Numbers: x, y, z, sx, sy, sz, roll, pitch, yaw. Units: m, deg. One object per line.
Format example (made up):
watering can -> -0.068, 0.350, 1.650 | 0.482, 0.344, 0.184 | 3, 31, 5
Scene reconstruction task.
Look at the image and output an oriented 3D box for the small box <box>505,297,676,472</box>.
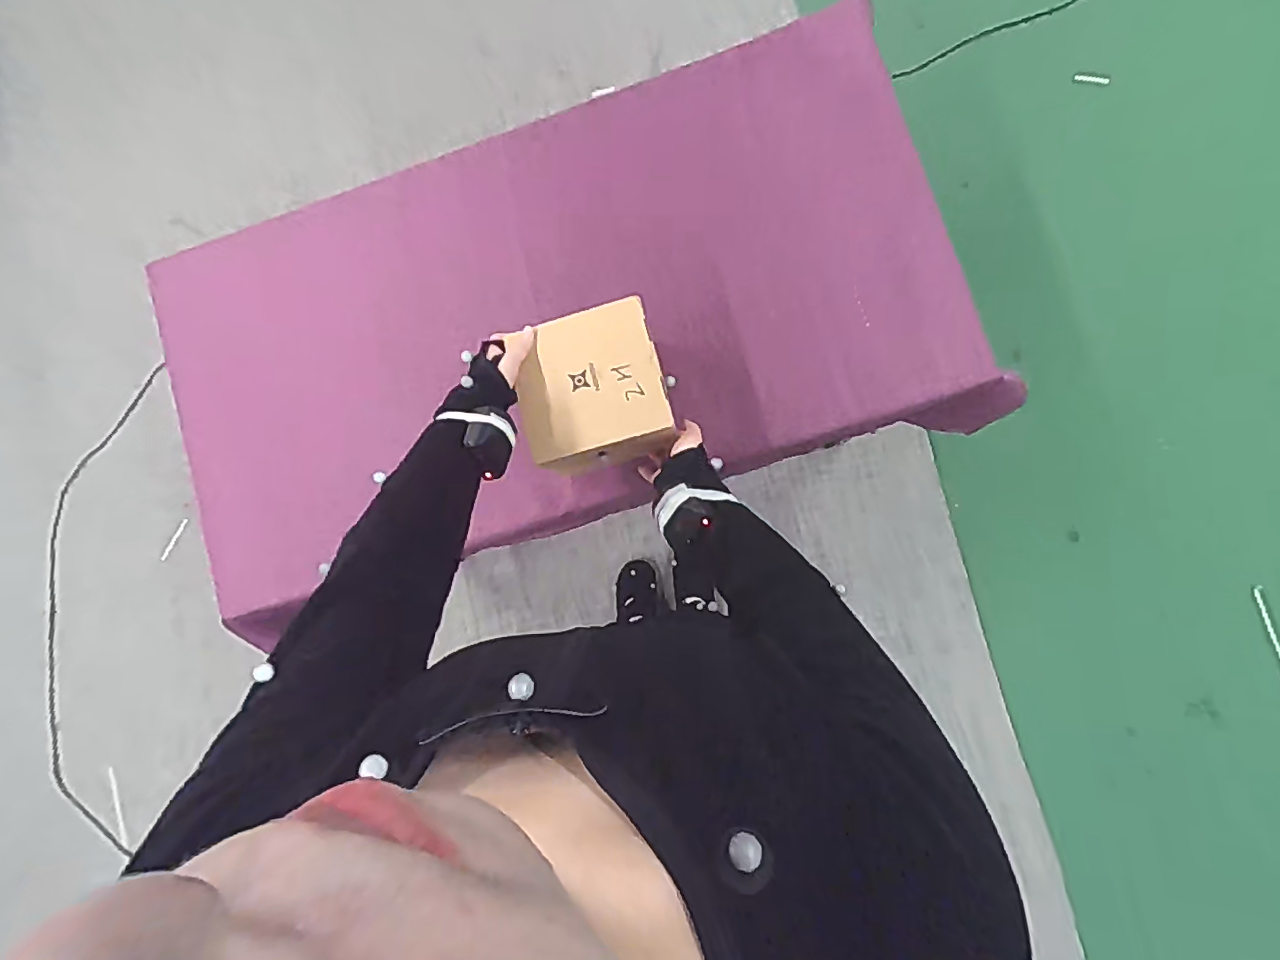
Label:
small box -> -0.056, -0.114, 0.723 | 0.179, 0.176, 0.168 | -15, 85, 4
